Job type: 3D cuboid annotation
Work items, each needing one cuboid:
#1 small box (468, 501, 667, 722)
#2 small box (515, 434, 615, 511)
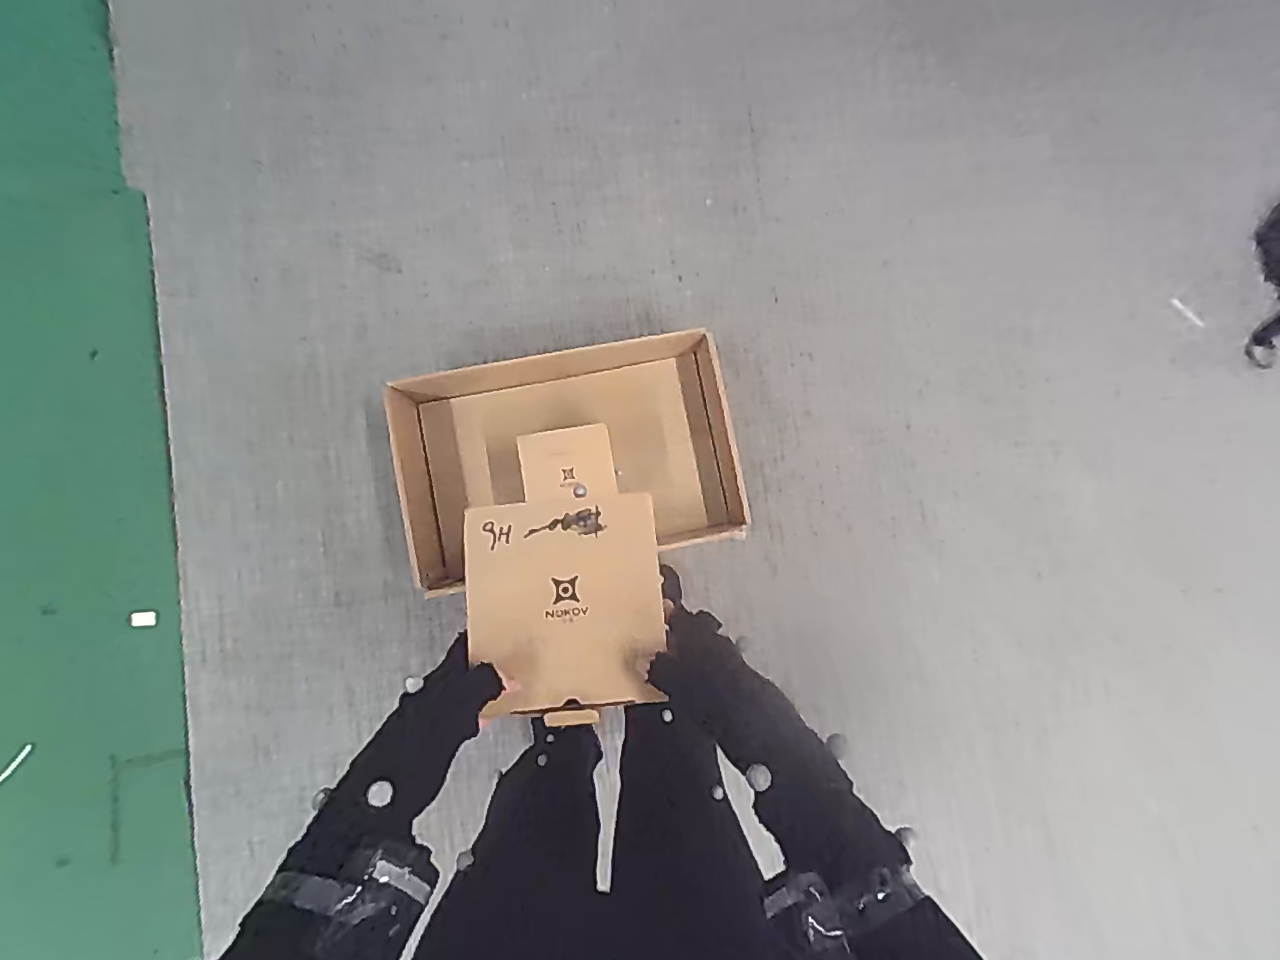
[{"bbox_3d":[-0.064,0.123,0.542,0.168,0.176,0.179,-5,80,-3],"label":"small box"},{"bbox_3d":[-0.136,0.020,1.044,0.168,0.176,0.179,-9,84,-5],"label":"small box"}]
